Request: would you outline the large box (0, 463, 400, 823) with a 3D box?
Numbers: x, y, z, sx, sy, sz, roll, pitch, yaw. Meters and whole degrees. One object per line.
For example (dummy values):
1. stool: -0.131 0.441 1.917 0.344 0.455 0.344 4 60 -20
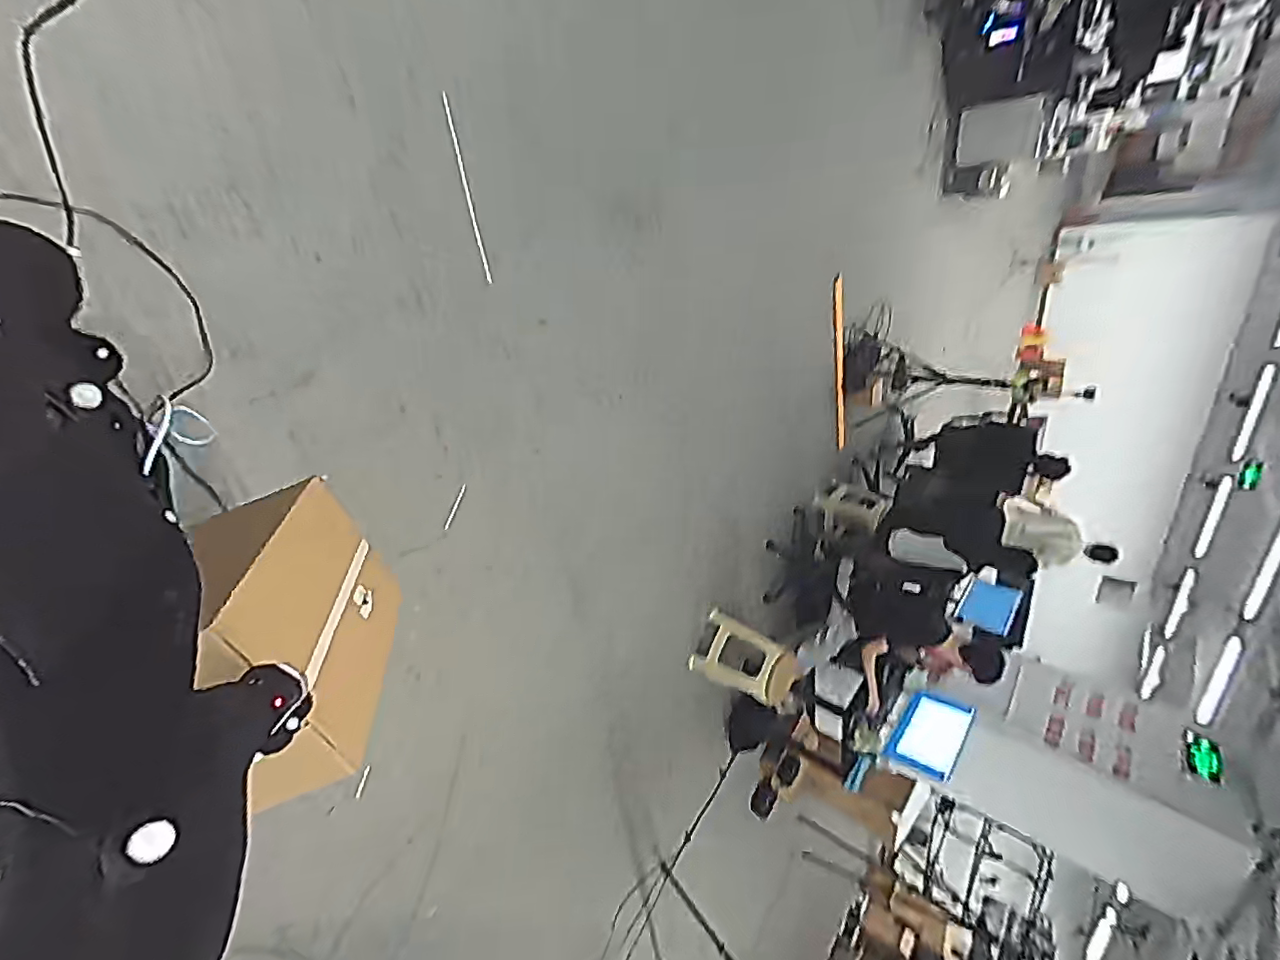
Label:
1. large box: -0.643 0.237 0.879 0.320 0.408 0.320 -21 120 -3
